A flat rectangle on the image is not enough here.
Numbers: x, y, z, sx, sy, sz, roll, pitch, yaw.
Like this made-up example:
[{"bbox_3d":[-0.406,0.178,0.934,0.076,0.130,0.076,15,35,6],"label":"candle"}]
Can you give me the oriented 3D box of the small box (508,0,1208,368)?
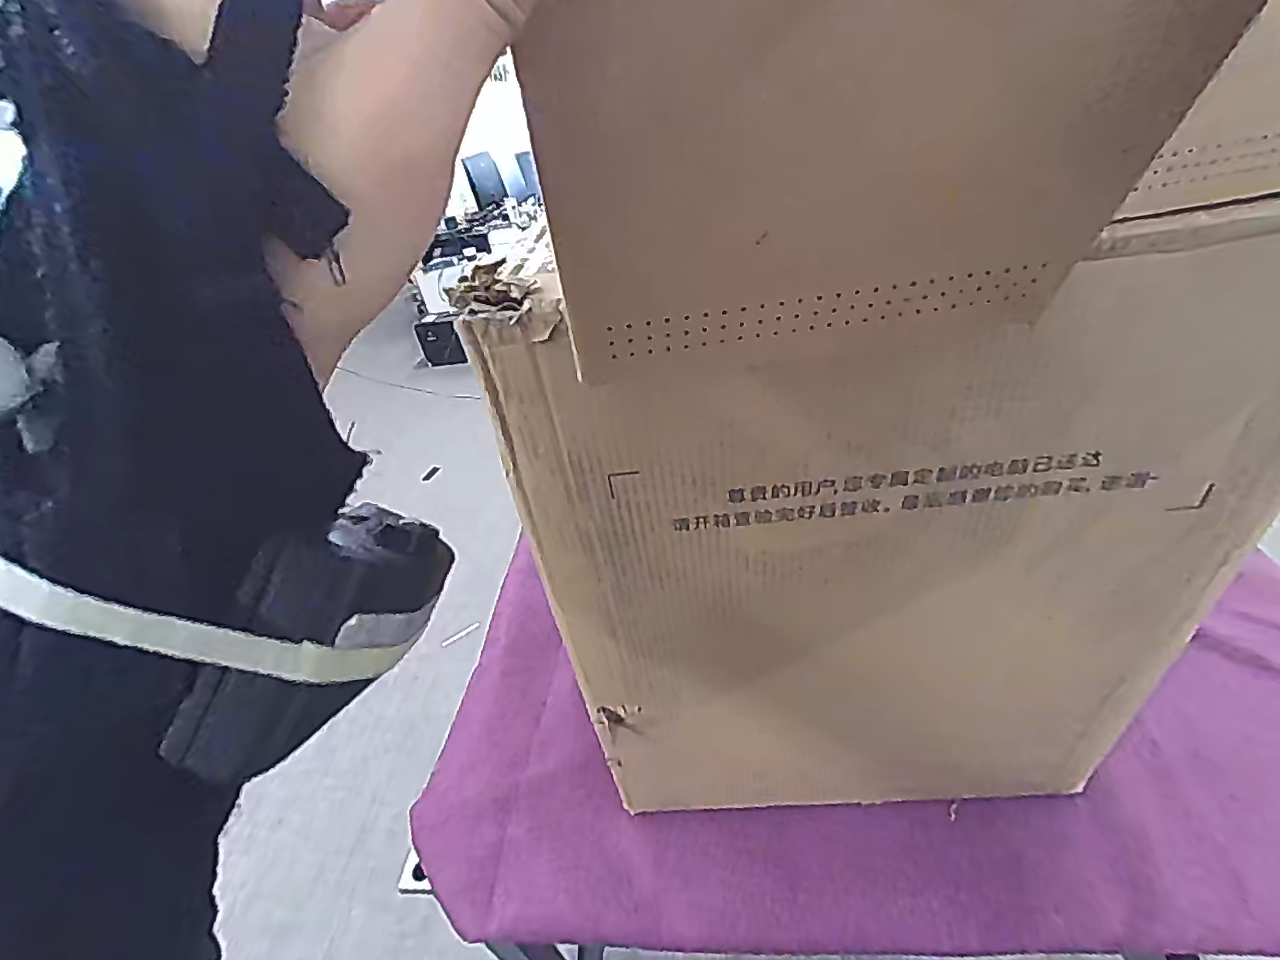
[{"bbox_3d":[0.049,-0.156,0.179,0.179,0.176,0.168,-9,58,-1],"label":"small box"}]
